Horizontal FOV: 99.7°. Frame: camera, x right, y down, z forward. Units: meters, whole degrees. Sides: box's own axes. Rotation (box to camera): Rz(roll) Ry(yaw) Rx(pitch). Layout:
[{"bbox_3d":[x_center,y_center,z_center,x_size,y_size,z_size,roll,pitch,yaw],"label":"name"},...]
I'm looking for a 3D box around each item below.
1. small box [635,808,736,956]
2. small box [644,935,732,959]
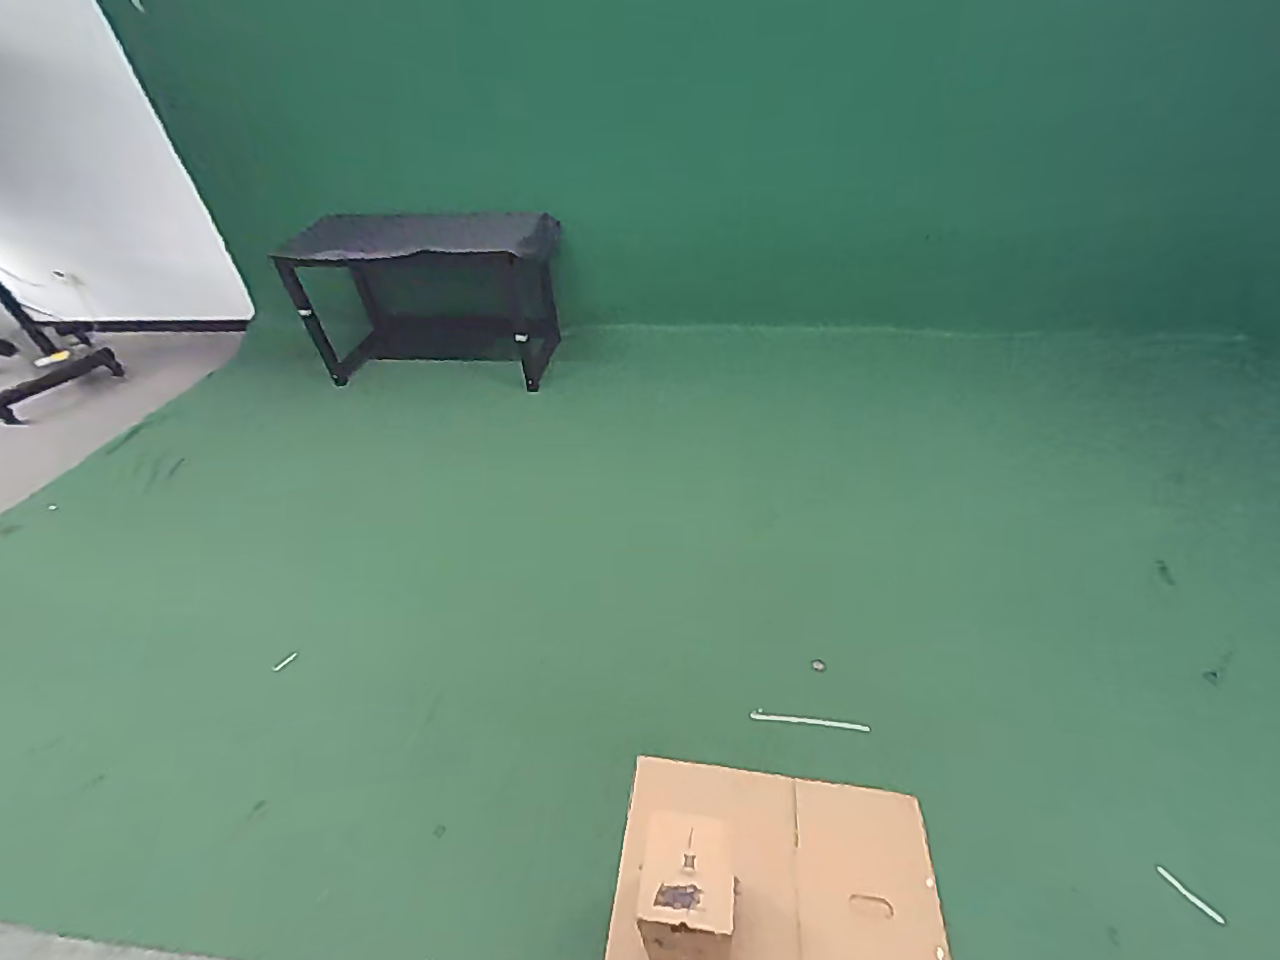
[{"bbox_3d":[0.092,0.751,1.009,0.168,0.176,0.179,3,40,10],"label":"small box"},{"bbox_3d":[0.105,0.877,1.113,0.168,0.176,0.179,2,41,9],"label":"small box"}]
